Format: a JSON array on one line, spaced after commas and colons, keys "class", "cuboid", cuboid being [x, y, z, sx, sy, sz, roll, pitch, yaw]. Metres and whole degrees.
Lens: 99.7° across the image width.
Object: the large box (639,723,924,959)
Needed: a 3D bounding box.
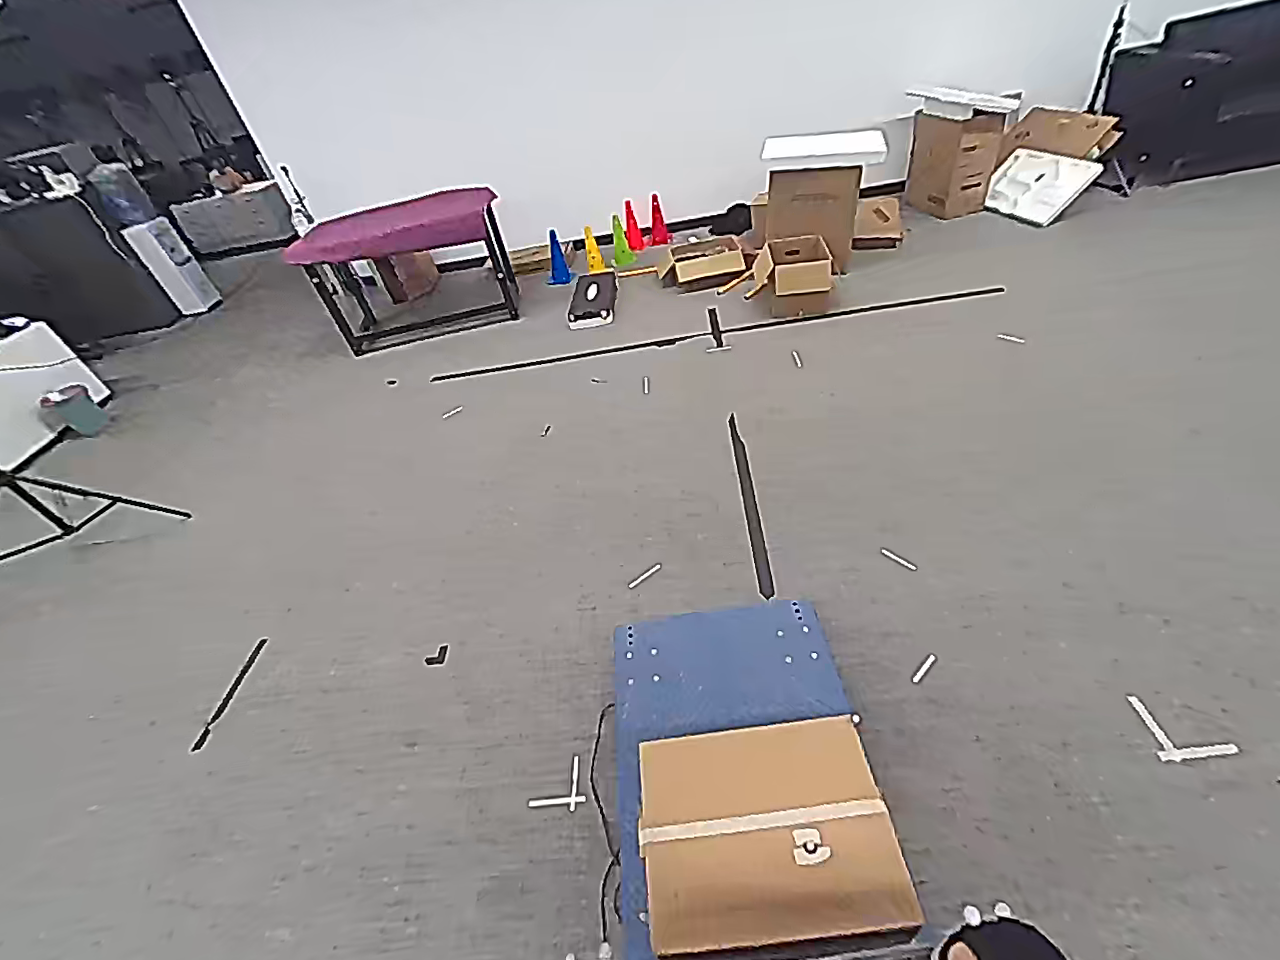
[{"class": "large box", "cuboid": [0.225, 0.691, 0.989, 0.408, 0.320, 0.320, -9, 42, 3]}]
